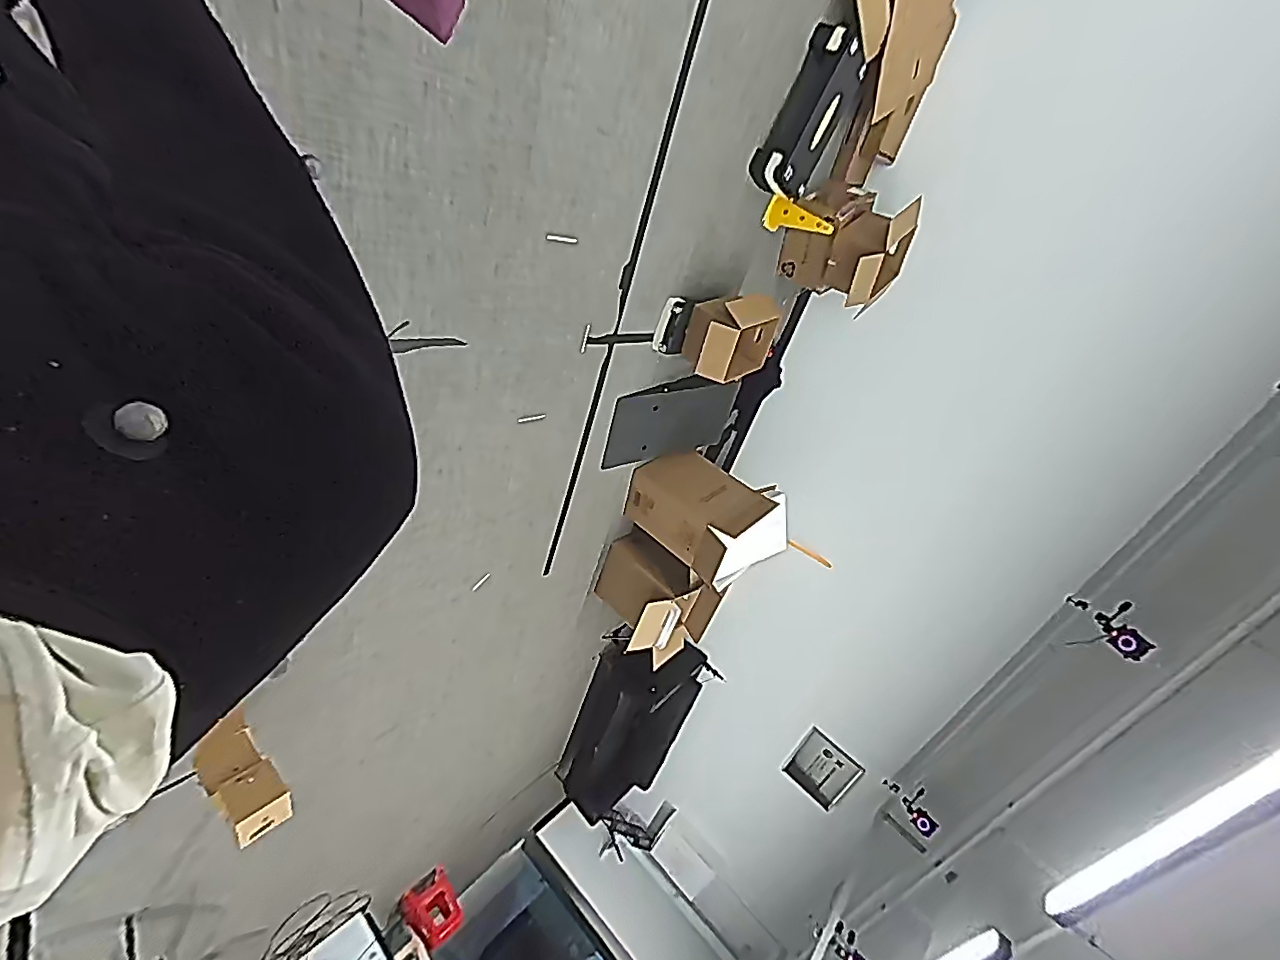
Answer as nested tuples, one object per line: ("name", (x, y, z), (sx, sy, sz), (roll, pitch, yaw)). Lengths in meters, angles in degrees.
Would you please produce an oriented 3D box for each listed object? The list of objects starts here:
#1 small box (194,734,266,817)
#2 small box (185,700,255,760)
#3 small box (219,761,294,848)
("small box", (-1.495, 1.080, 1.992), (0.179, 0.176, 0.168), (-26, 143, -44))
("small box", (-1.604, 0.987, 2.071), (0.168, 0.176, 0.179), (-25, 142, -45))
("small box", (-1.360, 1.145, 1.919), (0.168, 0.176, 0.179), (-24, 141, -48))
